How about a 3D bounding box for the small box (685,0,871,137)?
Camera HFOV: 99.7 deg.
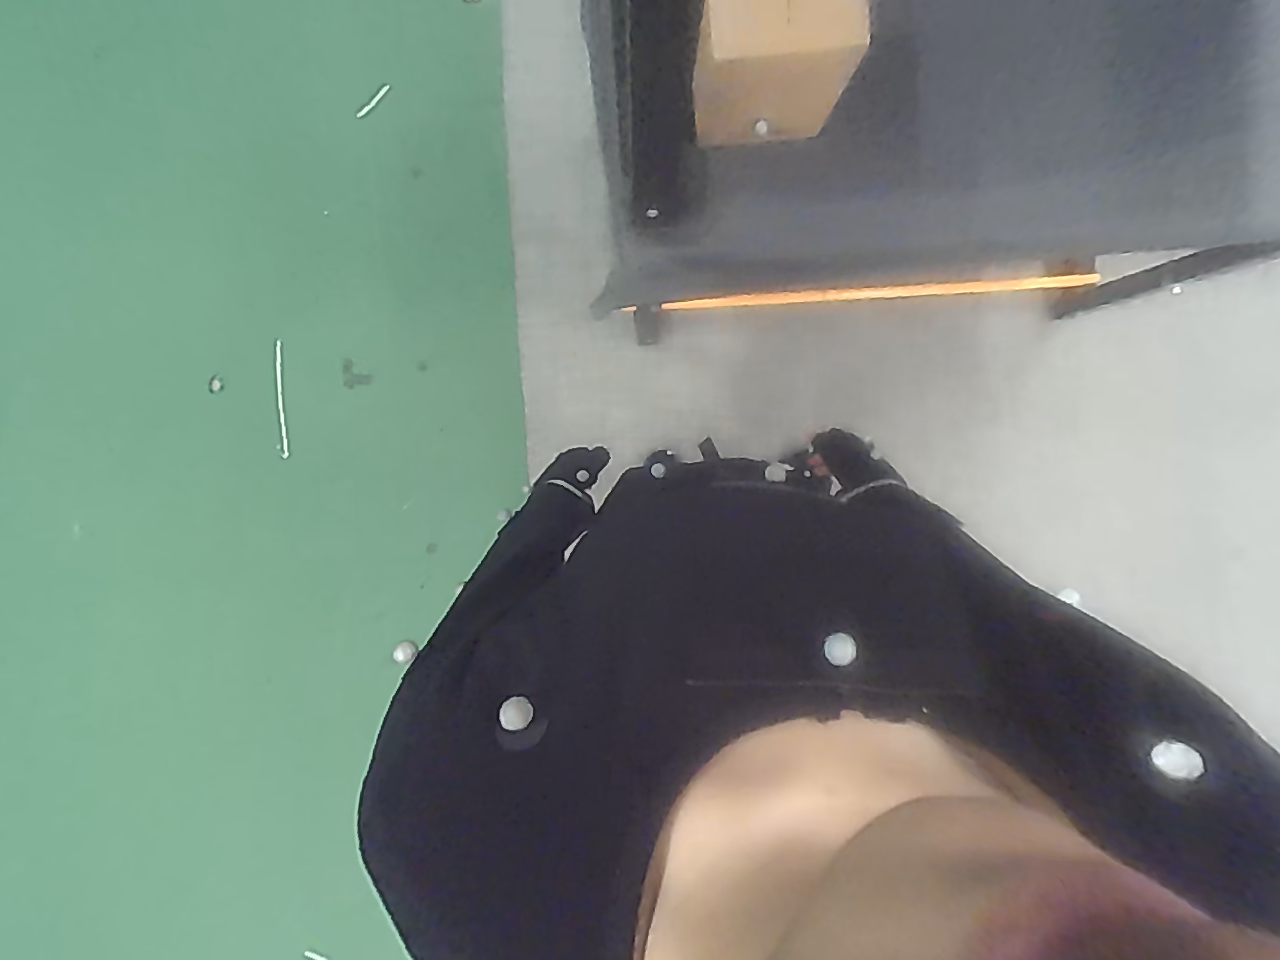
[{"bbox_3d":[0.145,-0.537,0.623,0.168,0.176,0.179,-6,94,0],"label":"small box"}]
